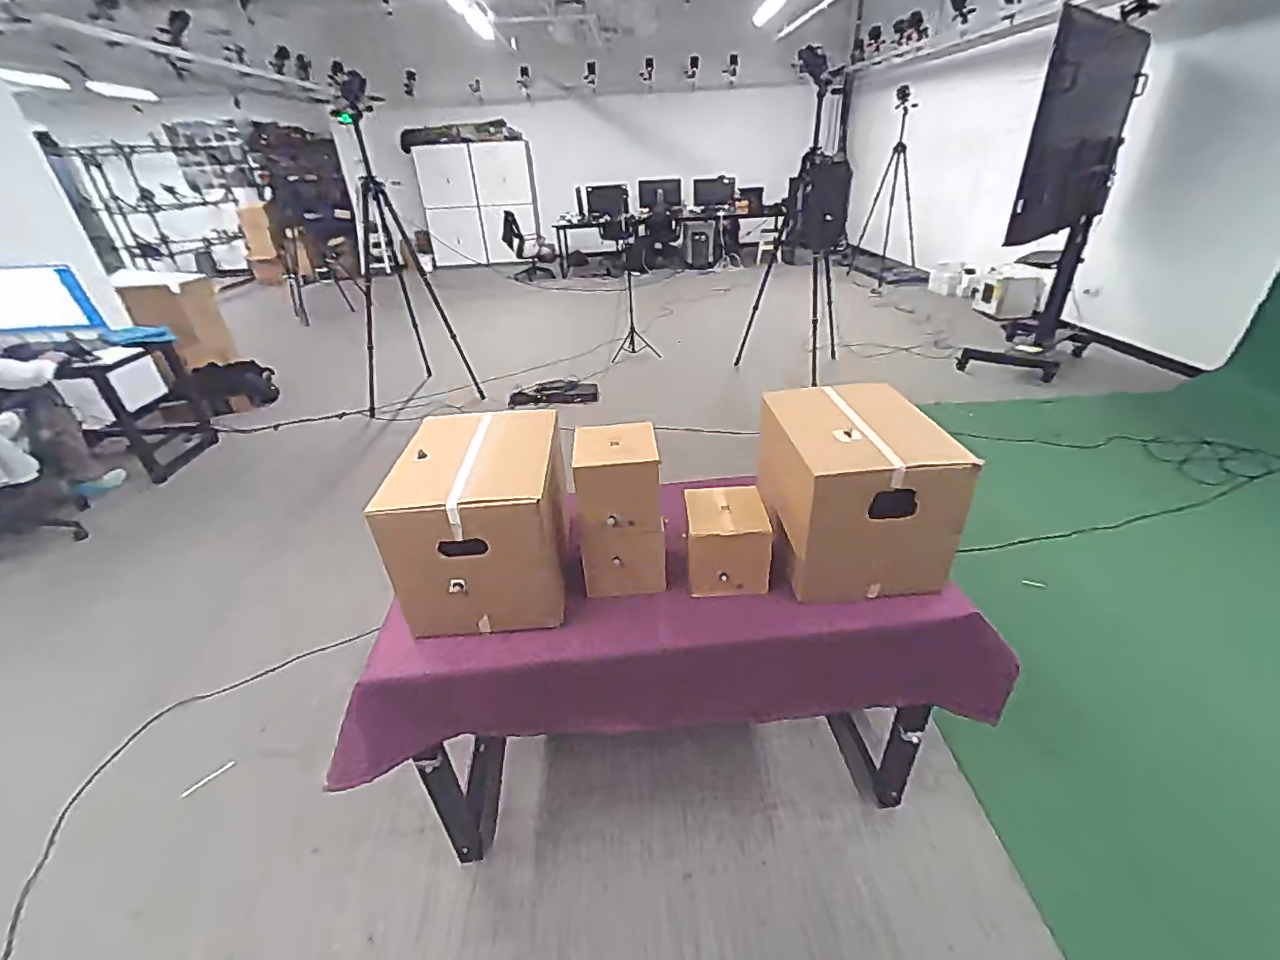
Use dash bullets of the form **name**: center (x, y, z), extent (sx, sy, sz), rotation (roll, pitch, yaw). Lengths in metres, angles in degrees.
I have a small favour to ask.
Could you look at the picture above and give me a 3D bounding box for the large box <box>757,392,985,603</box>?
- **large box**: center (0.472, 0.022, 1.225), extent (0.320, 0.320, 0.408), rotation (-3, 32, -1)
